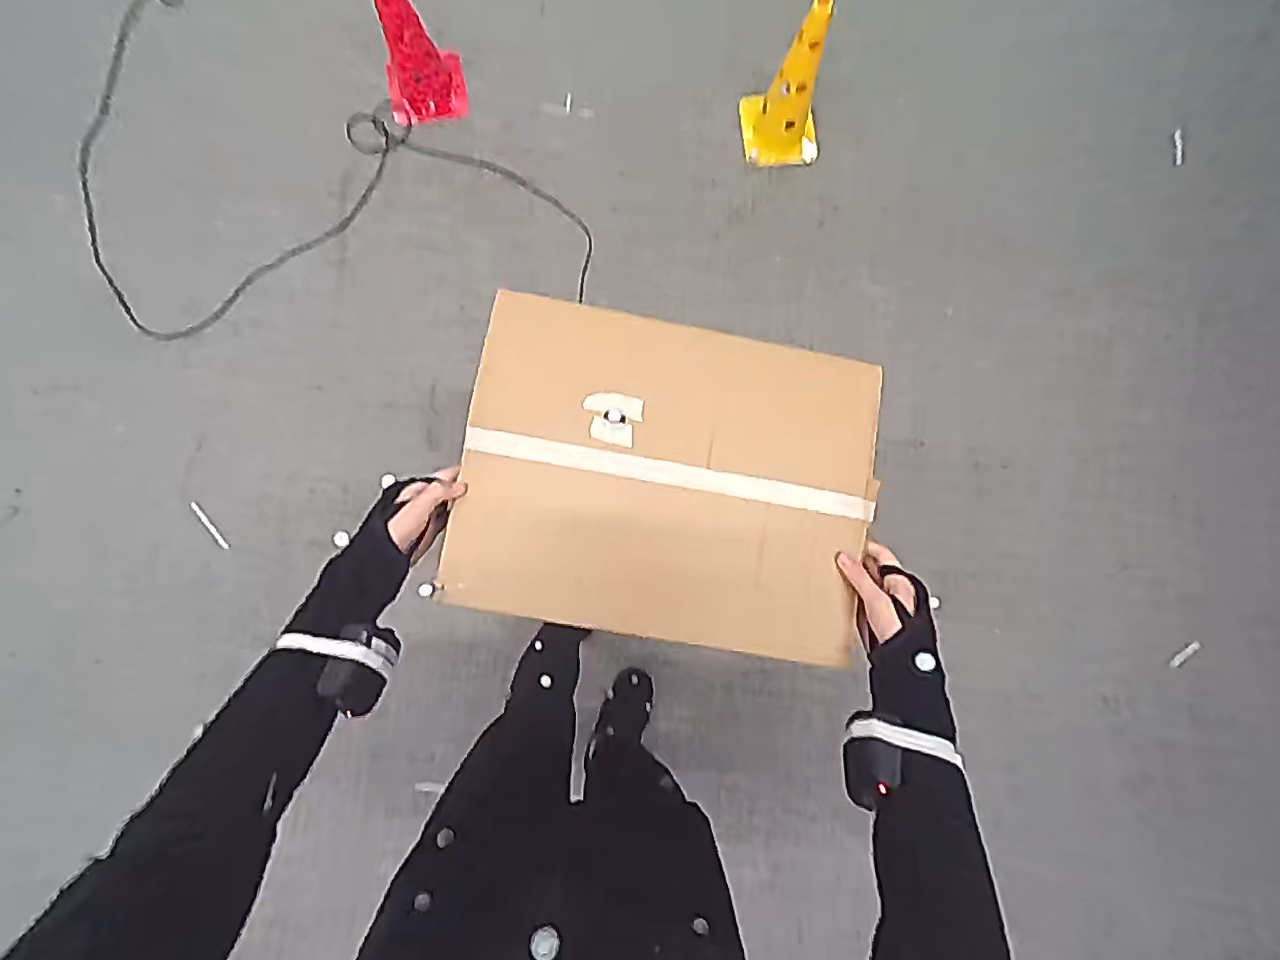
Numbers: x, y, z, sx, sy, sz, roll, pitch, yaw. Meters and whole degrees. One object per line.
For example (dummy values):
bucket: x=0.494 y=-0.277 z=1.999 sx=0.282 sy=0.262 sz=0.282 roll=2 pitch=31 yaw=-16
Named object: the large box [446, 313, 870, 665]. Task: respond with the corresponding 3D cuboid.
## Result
large box: x=0.021 y=0.022 z=0.697 sx=0.408 sy=0.320 sz=0.320 roll=10 pitch=82 yaw=-3
